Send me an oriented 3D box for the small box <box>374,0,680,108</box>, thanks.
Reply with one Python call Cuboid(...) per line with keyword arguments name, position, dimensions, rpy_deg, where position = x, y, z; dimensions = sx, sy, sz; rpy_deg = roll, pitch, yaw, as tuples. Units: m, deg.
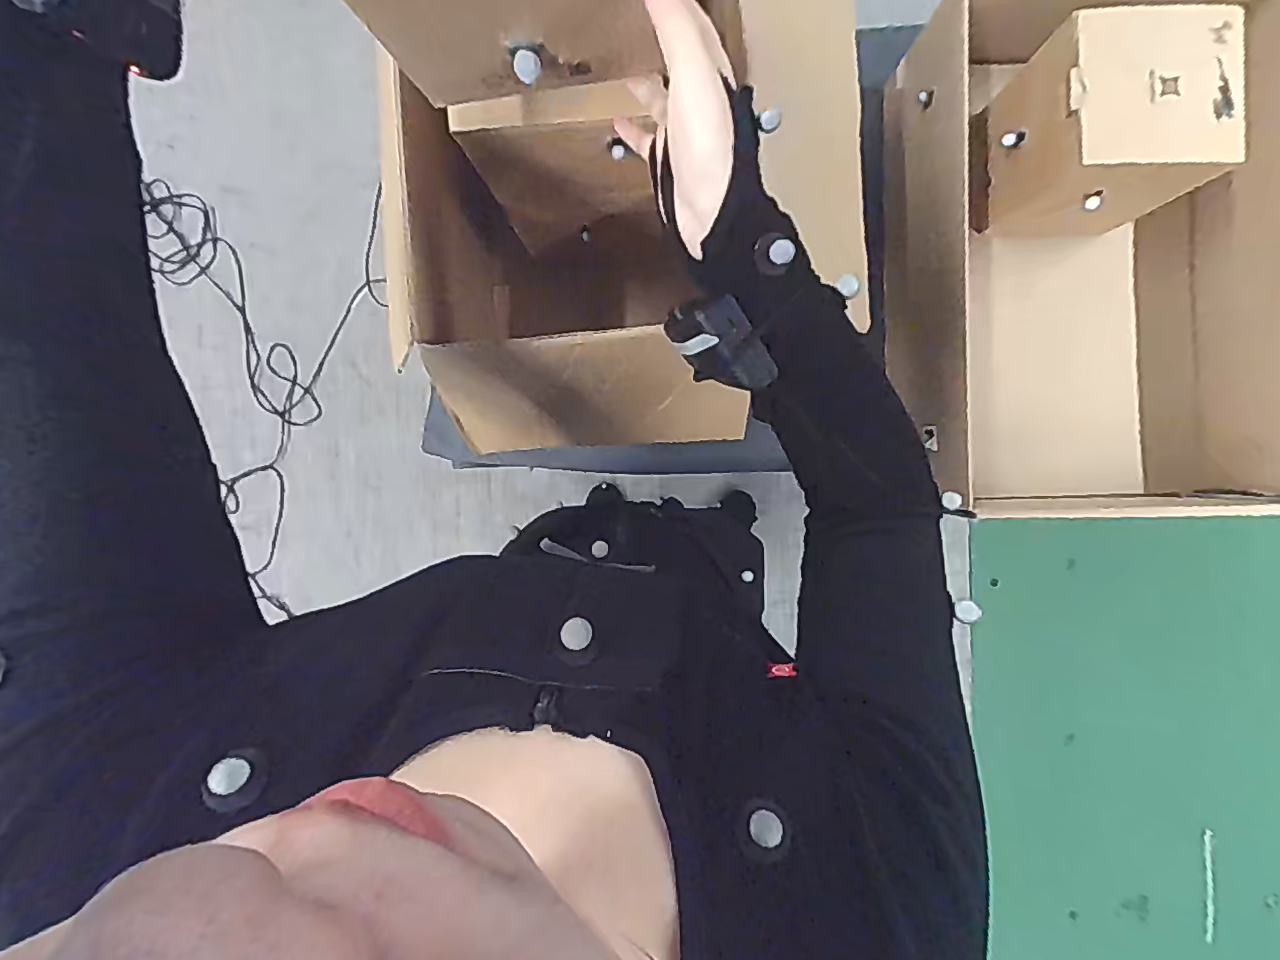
Cuboid(name="small box", position=(-0.068, -0.329, 0.271), dimensions=(0.168, 0.176, 0.179), rpy_deg=(-5, 102, 4))
